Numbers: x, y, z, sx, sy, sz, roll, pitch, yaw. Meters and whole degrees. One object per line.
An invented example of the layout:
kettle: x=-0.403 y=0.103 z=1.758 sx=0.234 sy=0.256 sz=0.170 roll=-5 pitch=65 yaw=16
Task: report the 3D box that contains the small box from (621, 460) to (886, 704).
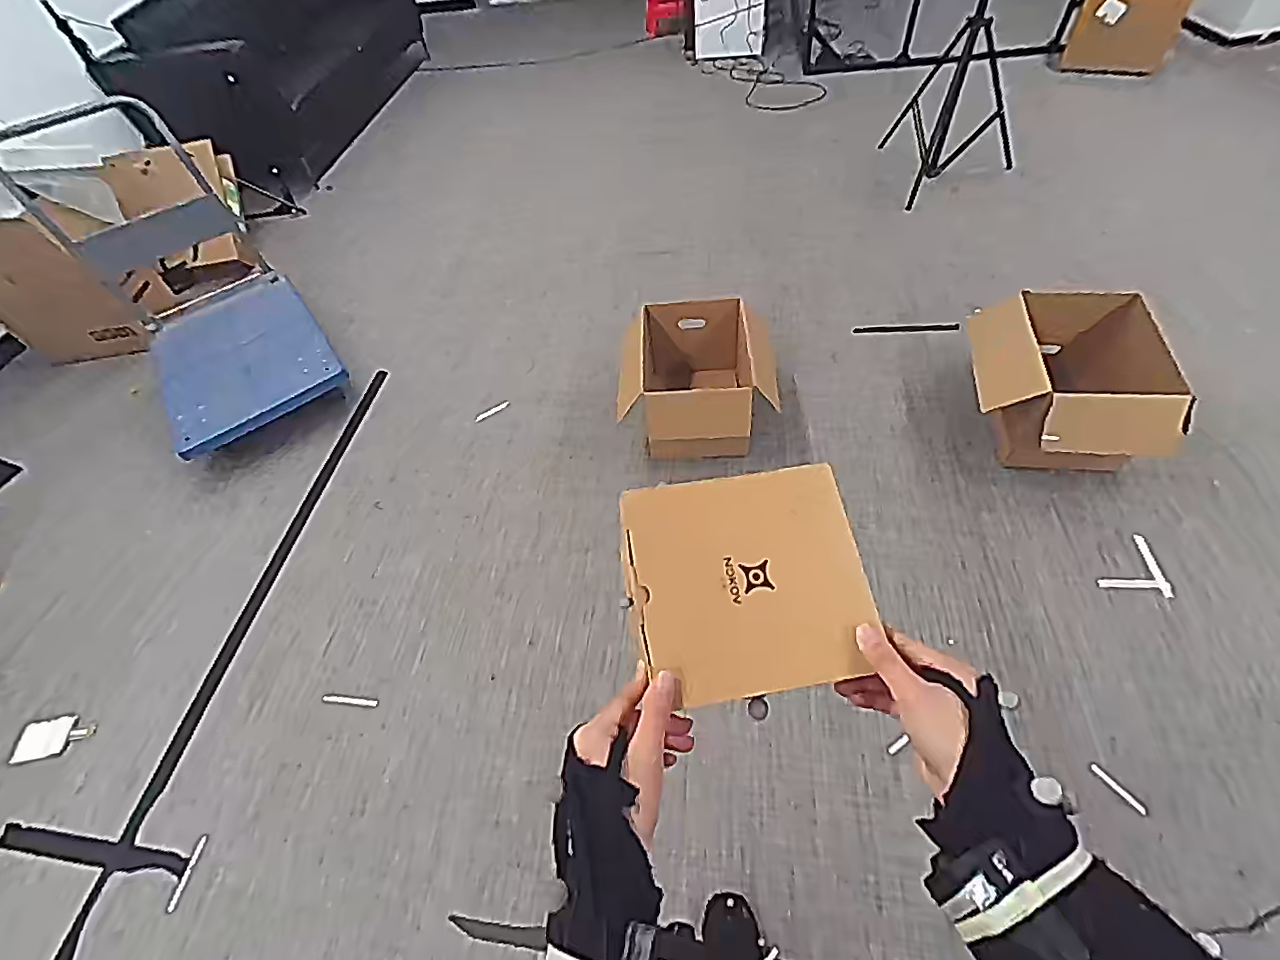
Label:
small box: x=0.080 y=0.098 z=0.485 sx=0.179 sy=0.176 sz=0.168 roll=-9 pitch=68 yaw=-4
